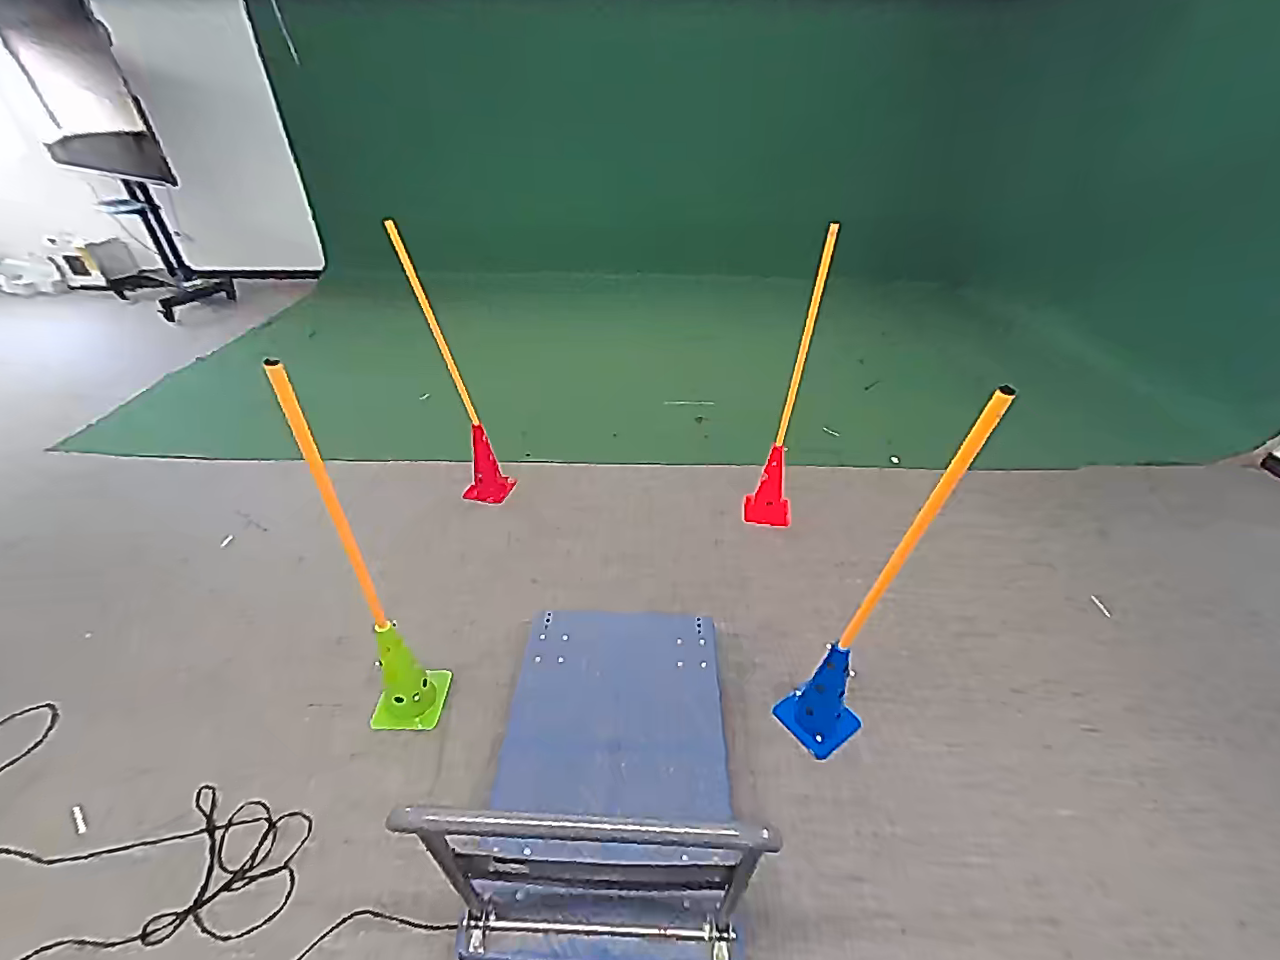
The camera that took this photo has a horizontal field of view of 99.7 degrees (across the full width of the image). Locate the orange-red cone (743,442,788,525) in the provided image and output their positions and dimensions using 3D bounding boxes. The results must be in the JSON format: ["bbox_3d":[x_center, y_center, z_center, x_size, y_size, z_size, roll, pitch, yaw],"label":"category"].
[{"bbox_3d":[0.565,-0.004,2.334,0.198,0.360,0.199,7,38,10],"label":"orange-red cone"}]
